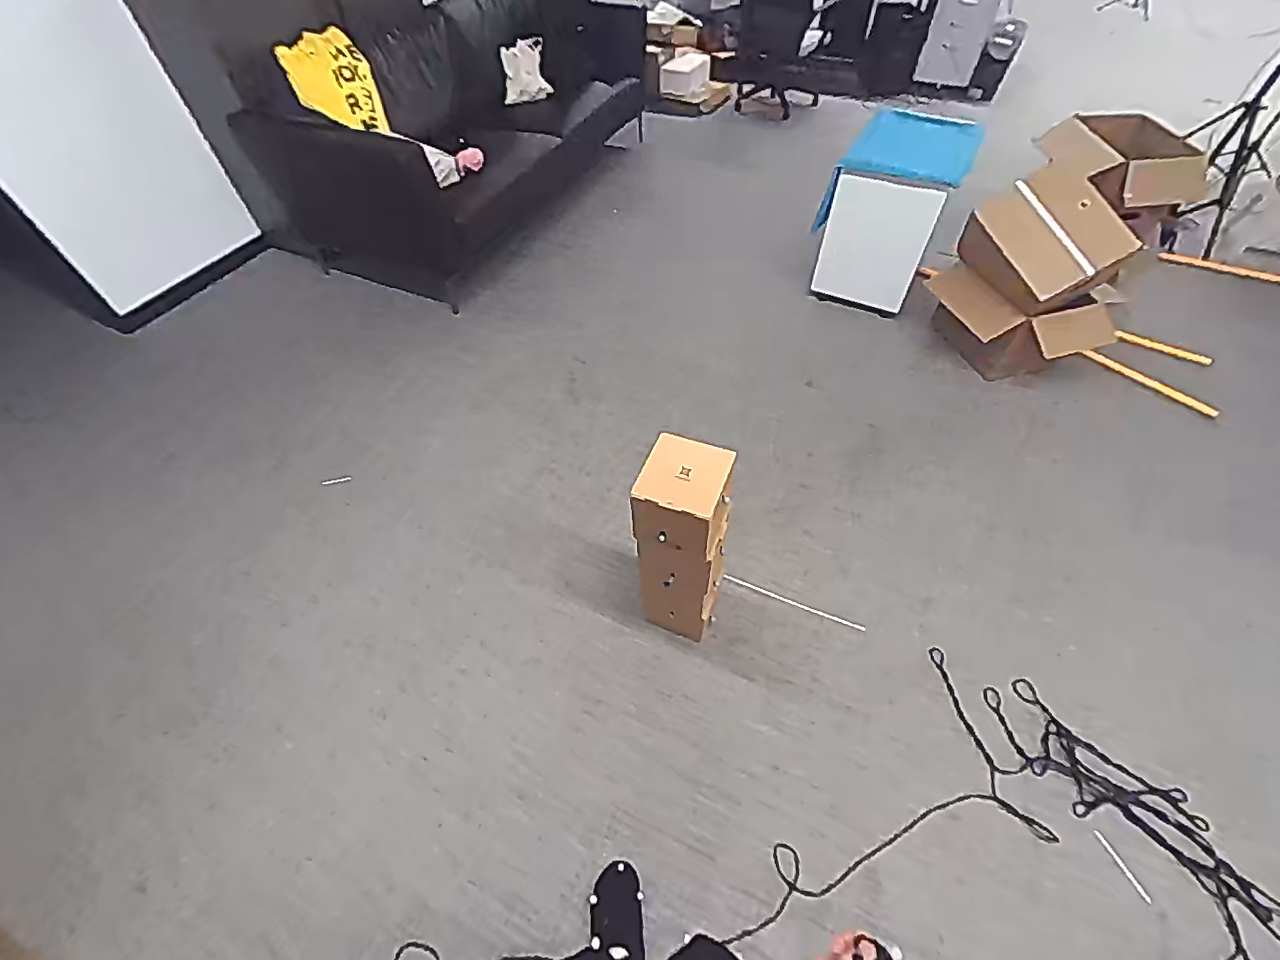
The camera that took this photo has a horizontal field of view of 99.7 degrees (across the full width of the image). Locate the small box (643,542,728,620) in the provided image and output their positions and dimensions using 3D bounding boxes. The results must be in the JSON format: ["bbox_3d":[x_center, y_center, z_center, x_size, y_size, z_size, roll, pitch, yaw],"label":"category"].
[{"bbox_3d":[0.113,0.237,1.394,0.179,0.176,0.168,18,56,17],"label":"small box"}]

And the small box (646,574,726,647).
[{"bbox_3d":[0.127,0.343,1.519,0.179,0.176,0.168,18,55,16],"label":"small box"}]

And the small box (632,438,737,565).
[{"bbox_3d":[0.092,0.046,1.129,0.168,0.176,0.179,16,55,16],"label":"small box"}]

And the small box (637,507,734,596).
[{"bbox_3d":[0.105,0.148,1.257,0.179,0.176,0.168,17,54,15],"label":"small box"}]
